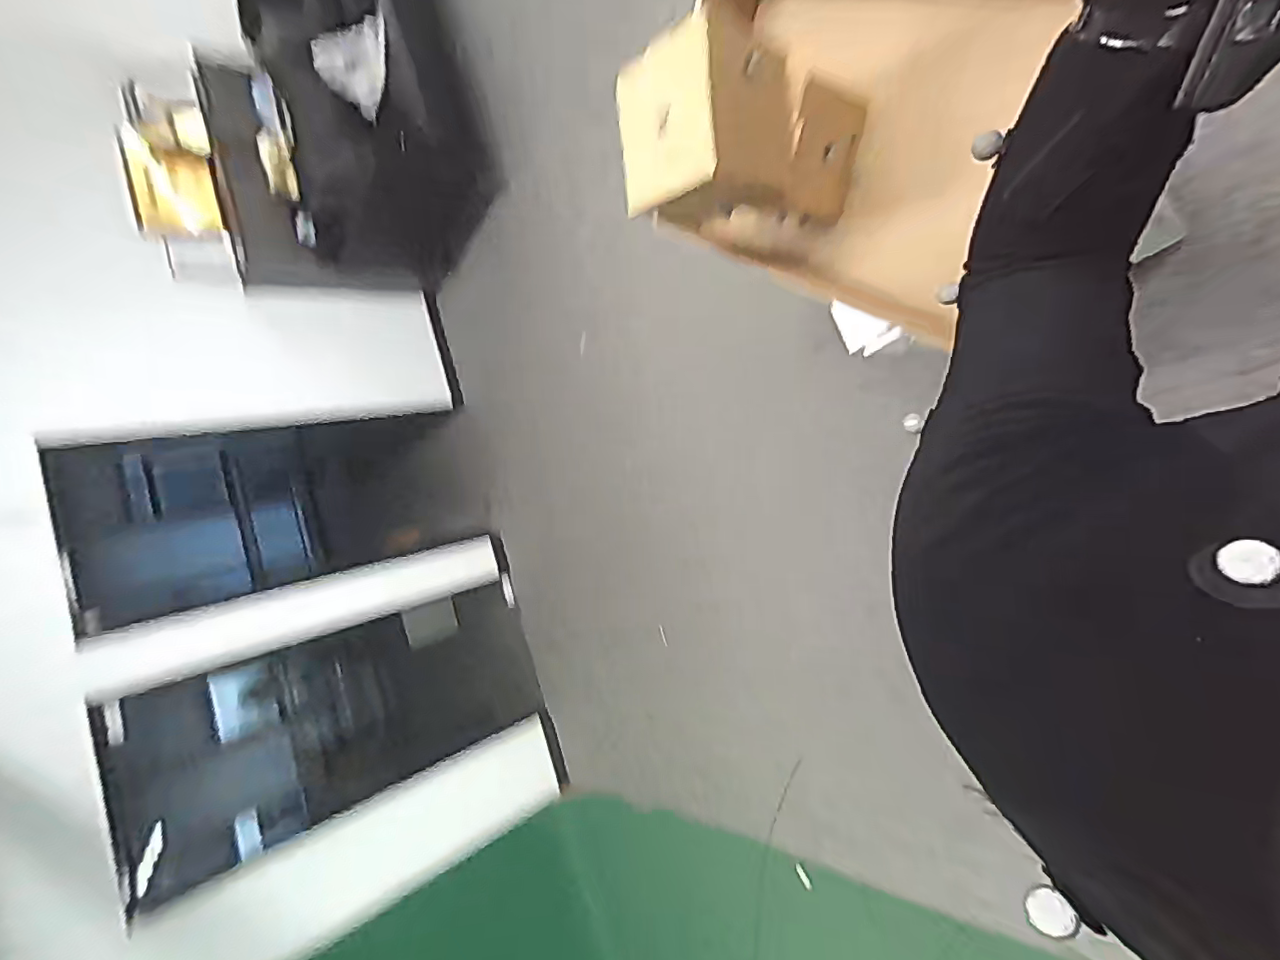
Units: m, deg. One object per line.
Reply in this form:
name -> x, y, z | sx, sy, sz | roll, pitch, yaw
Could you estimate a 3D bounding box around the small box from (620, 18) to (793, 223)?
small box -> 0.096, -0.480, 0.756 | 0.168, 0.176, 0.179 | 6, 107, 50
